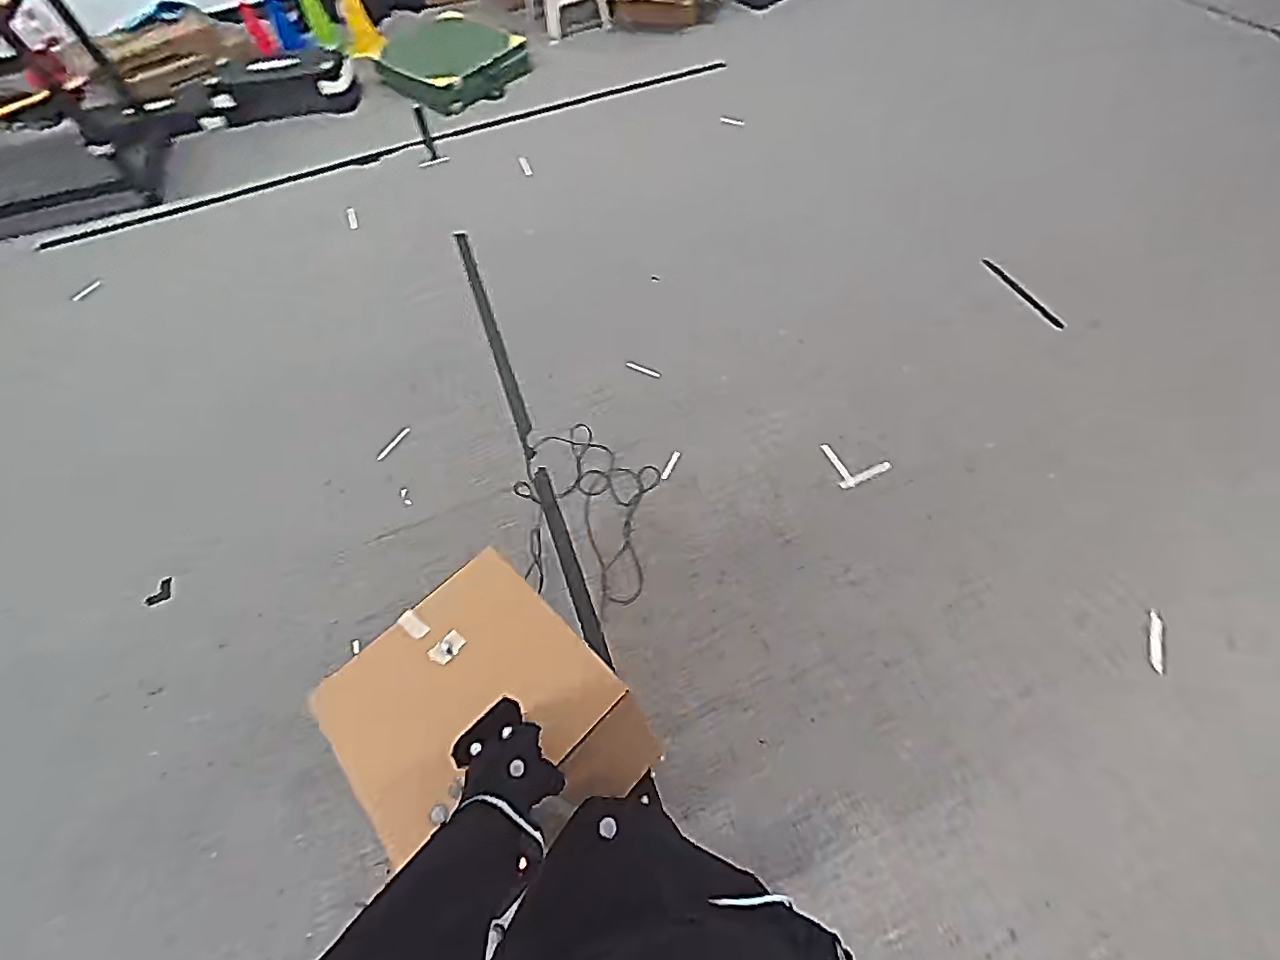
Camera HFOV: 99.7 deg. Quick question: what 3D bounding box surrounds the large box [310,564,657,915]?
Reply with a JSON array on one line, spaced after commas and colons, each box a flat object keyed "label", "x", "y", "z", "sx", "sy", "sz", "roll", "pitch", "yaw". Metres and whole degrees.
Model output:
[{"label": "large box", "x": -0.210, "y": 0.403, "z": 0.858, "sx": 0.320, "sy": 0.408, "sz": 0.320, "roll": 36, "pitch": 68, "yaw": 30}]
